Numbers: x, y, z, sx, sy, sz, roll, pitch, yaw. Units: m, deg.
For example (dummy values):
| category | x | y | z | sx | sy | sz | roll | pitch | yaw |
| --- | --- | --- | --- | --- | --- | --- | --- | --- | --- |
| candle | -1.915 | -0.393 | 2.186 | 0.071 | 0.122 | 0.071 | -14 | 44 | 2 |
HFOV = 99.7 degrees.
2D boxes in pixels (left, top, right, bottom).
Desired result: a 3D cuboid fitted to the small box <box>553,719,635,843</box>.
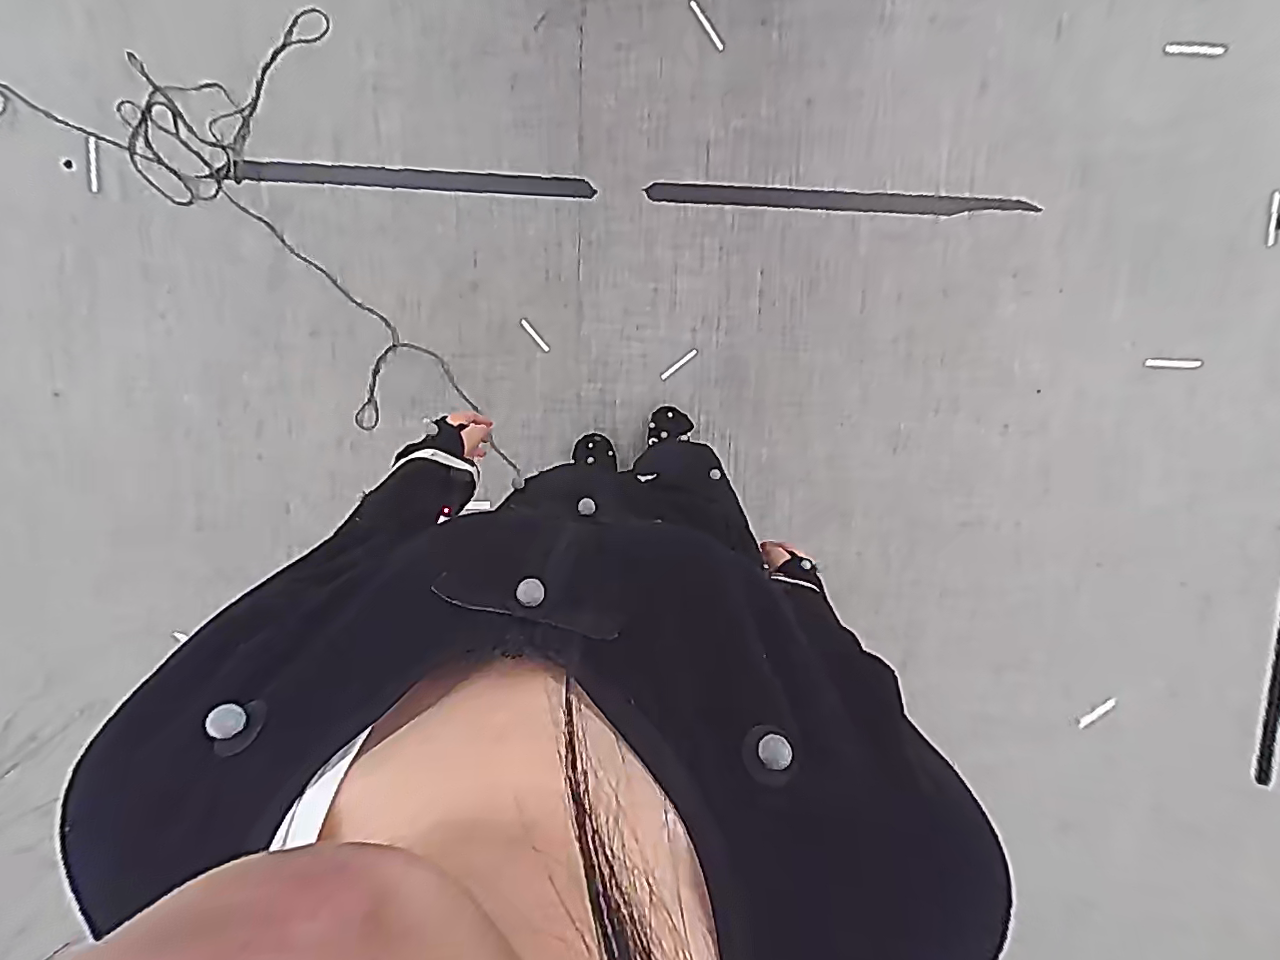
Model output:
| category | x | y | z | sx | sy | sz | roll | pitch | yaw |
| --- | --- | --- | --- | --- | --- | --- | --- | --- | --- |
| small box | -0.094 | 0.646 | 1.172 | 0.168 | 0.176 | 0.179 | -1 | 95 | -1 |
